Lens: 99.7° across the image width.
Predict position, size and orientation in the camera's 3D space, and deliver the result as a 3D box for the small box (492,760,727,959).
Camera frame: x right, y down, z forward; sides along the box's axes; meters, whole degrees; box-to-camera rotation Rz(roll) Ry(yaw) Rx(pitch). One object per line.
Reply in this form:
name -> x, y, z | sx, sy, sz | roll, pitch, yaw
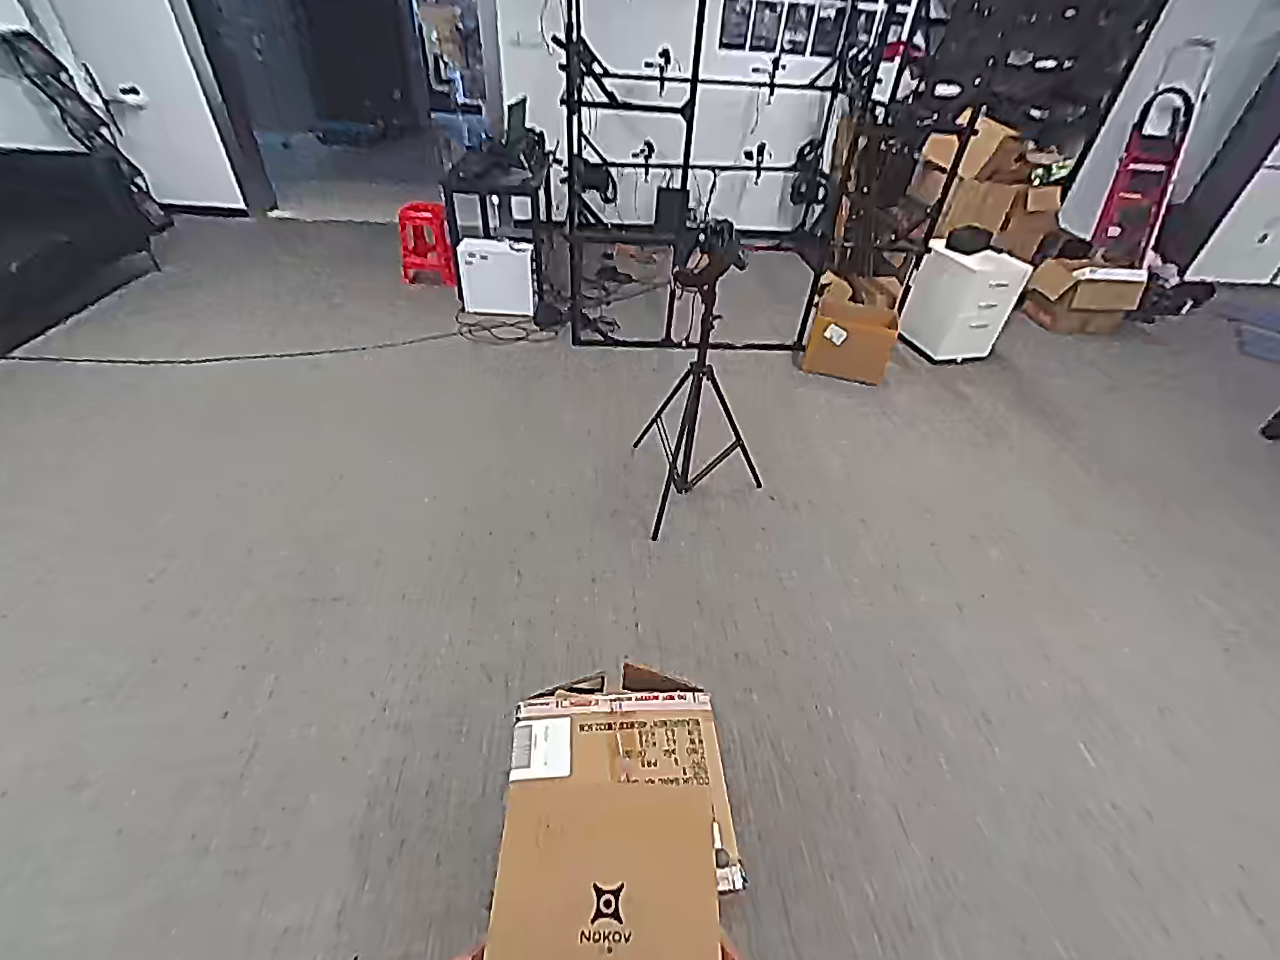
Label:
small box -> -0.023, 0.356, 0.458 | 0.168, 0.176, 0.179 | 2, 50, -1
